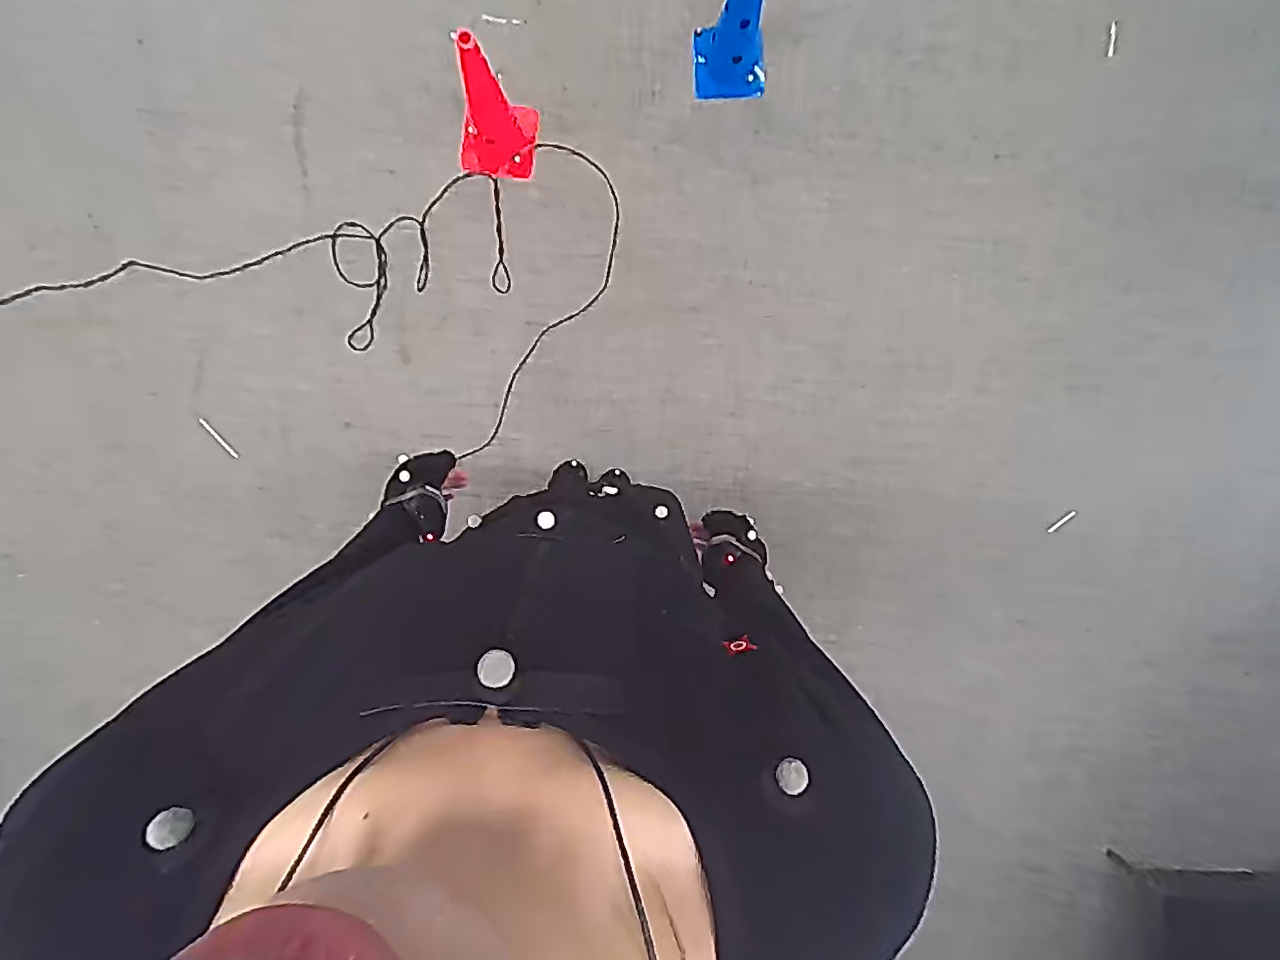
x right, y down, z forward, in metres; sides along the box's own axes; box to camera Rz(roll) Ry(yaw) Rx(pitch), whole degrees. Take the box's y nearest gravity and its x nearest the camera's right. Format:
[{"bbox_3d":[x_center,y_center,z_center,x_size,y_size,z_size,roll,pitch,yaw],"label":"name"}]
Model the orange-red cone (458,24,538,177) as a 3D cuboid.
[{"bbox_3d":[-0.379,-0.946,1.315,0.198,0.360,0.199,9,89,-3],"label":"orange-red cone"}]
